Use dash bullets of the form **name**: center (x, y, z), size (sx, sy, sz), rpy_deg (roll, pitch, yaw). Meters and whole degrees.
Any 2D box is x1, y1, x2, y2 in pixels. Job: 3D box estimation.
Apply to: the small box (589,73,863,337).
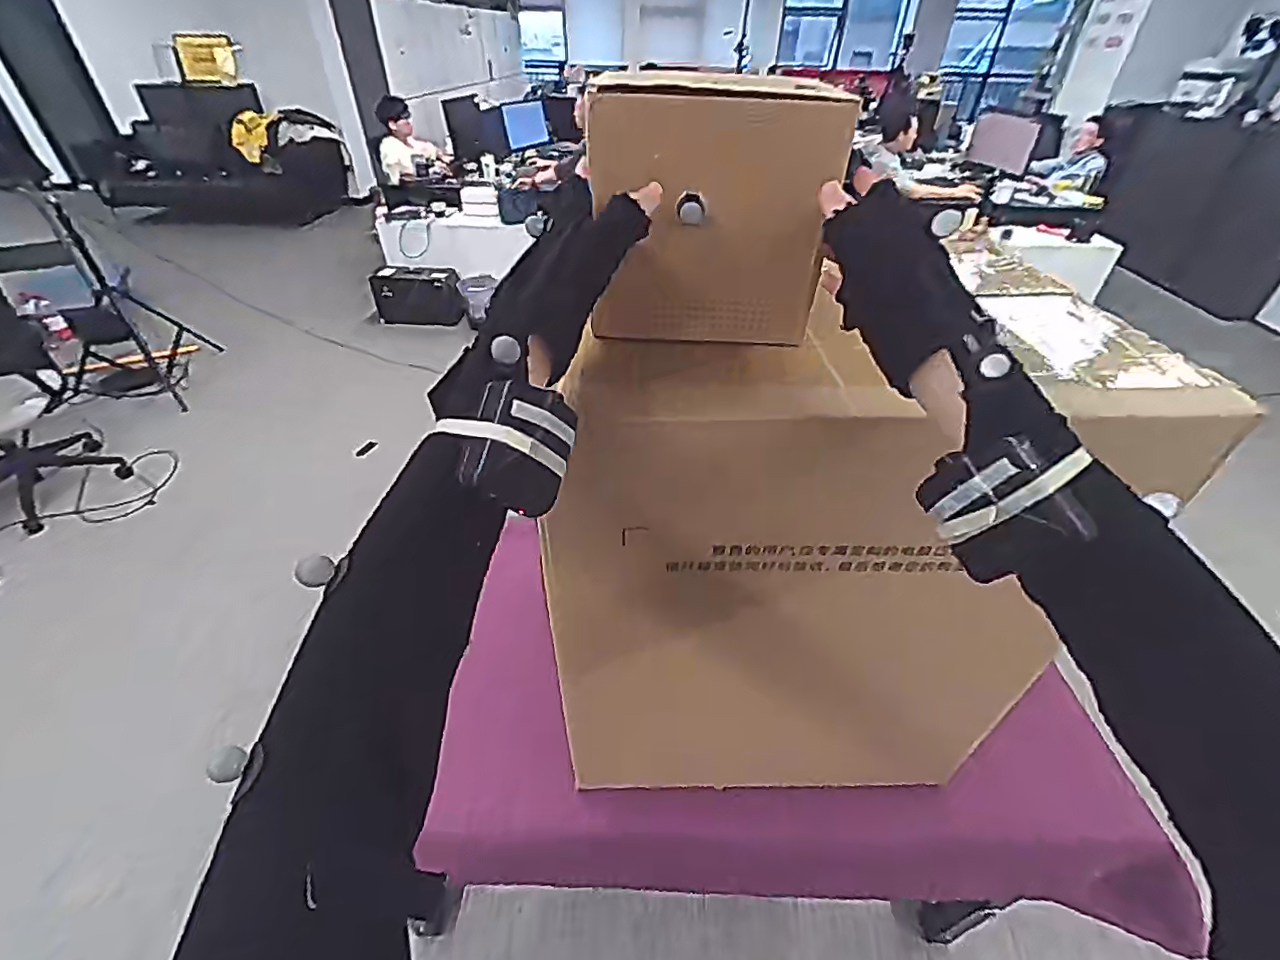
- **small box**: center (0.055, -0.229, 0.449), size (0.179, 0.176, 0.168), rpy_deg (2, 39, 0)
